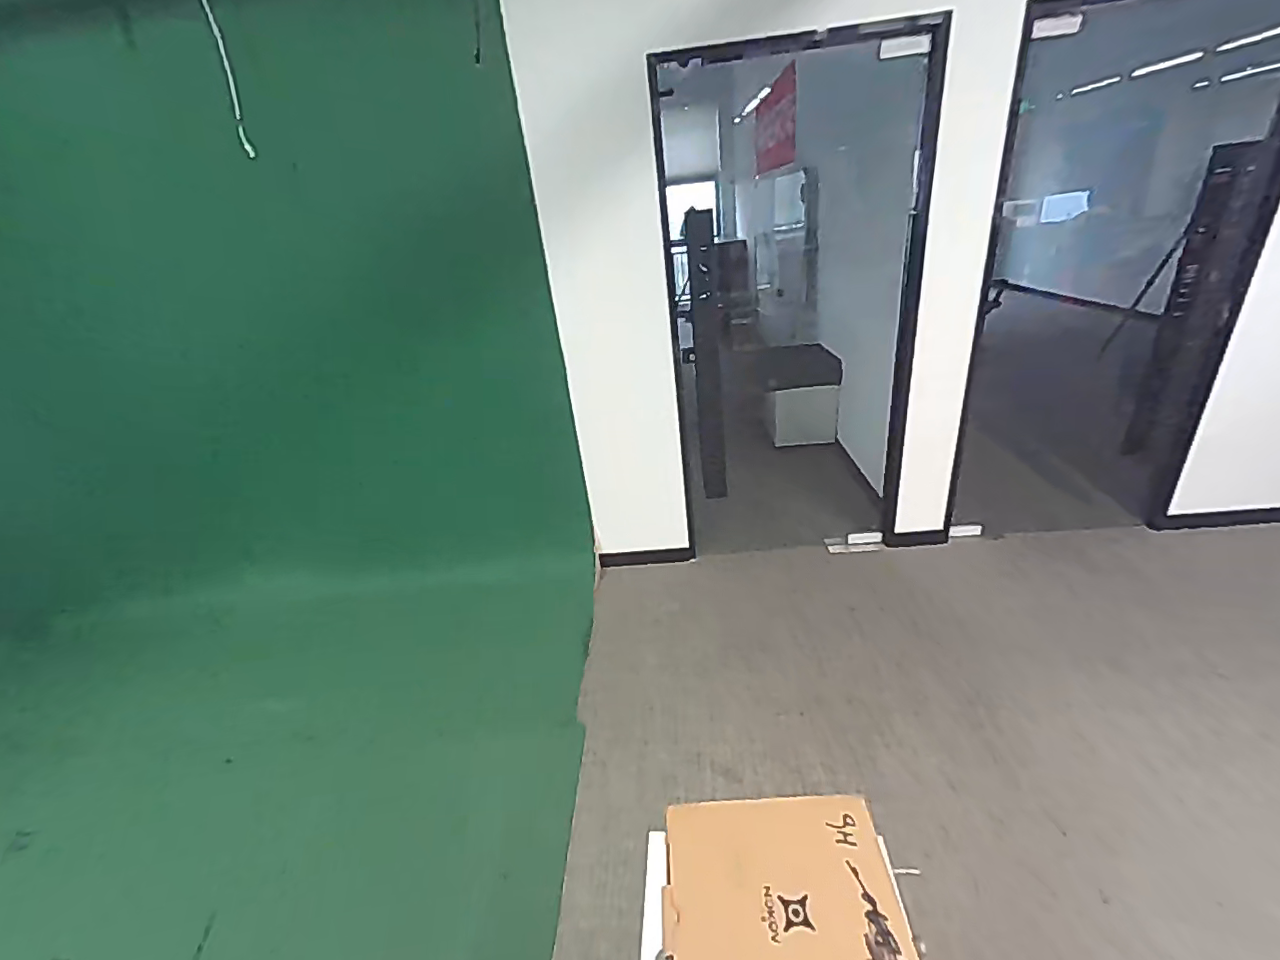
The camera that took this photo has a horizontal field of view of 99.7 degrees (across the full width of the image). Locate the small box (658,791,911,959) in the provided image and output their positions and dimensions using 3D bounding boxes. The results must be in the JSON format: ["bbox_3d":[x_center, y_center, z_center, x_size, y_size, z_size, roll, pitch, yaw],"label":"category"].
[{"bbox_3d":[0.111,0.389,0.449,0.179,0.176,0.168,-5,31,3],"label":"small box"}]
